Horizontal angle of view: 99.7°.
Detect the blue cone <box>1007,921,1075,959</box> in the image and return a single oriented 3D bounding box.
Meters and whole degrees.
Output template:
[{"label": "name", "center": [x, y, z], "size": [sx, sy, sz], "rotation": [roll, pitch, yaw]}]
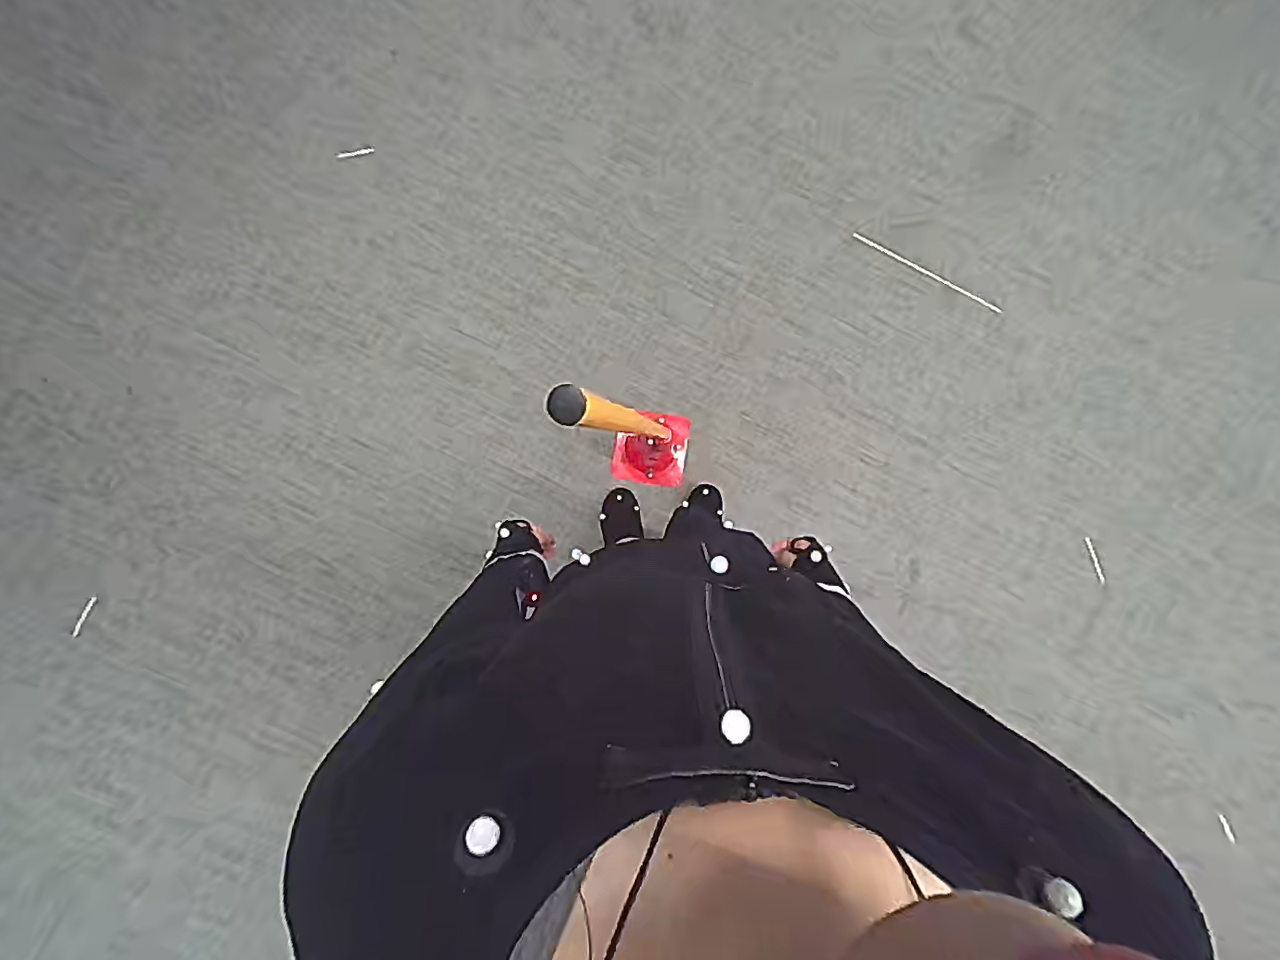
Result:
[{"label": "blue cone", "center": [1.147, 1.342, 1.353], "size": [0.193, 0.380, 0.192], "rotation": [-20, 89, -7]}]
